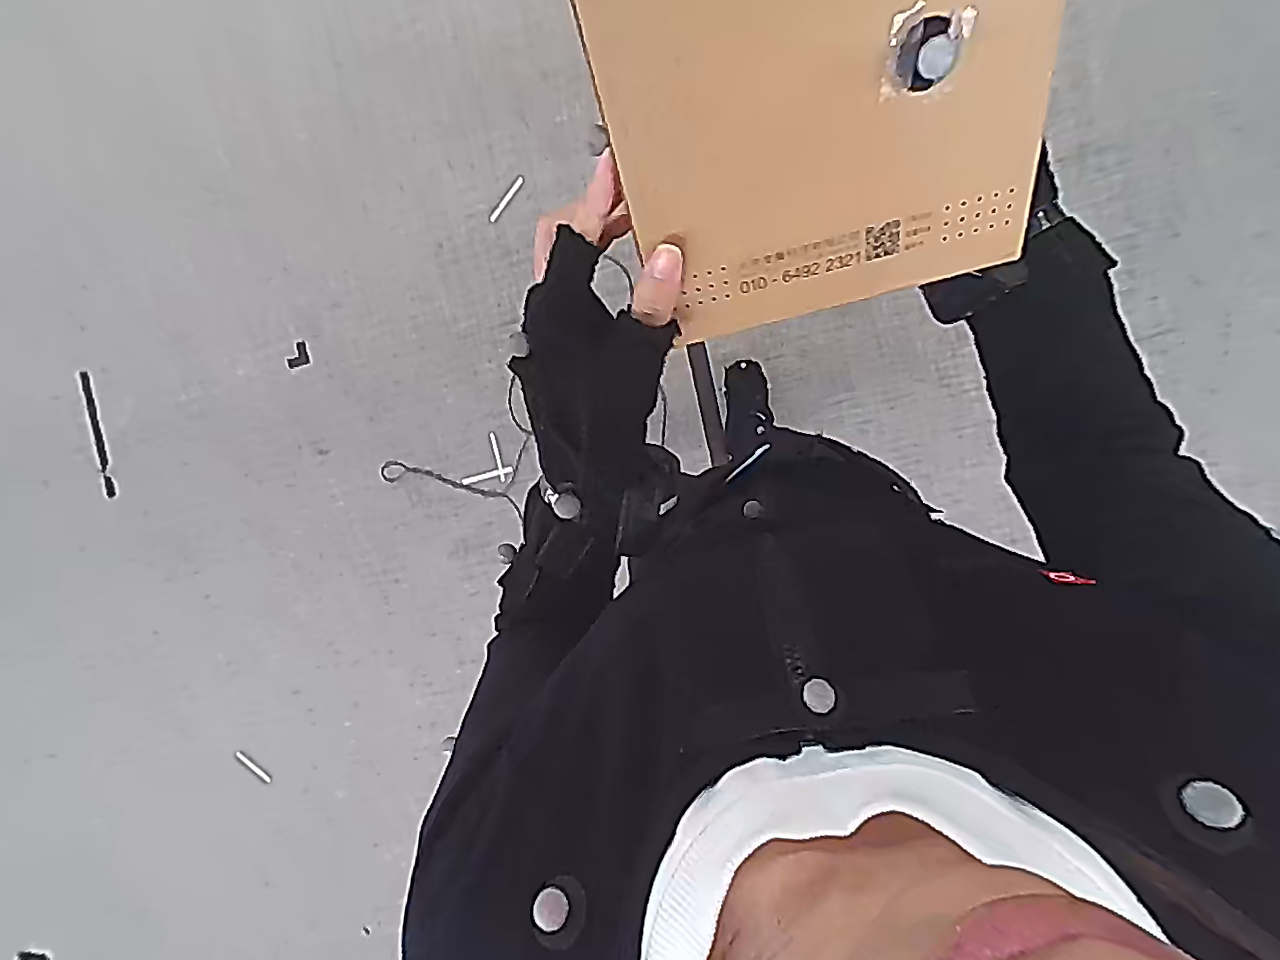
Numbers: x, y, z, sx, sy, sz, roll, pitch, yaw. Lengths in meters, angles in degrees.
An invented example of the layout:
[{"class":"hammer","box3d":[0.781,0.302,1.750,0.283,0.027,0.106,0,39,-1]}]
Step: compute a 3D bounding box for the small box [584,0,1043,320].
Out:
[{"class":"small box","box3d":[0.073,-0.198,0.274,0.168,0.179,0.176,-12,130,8]}]
